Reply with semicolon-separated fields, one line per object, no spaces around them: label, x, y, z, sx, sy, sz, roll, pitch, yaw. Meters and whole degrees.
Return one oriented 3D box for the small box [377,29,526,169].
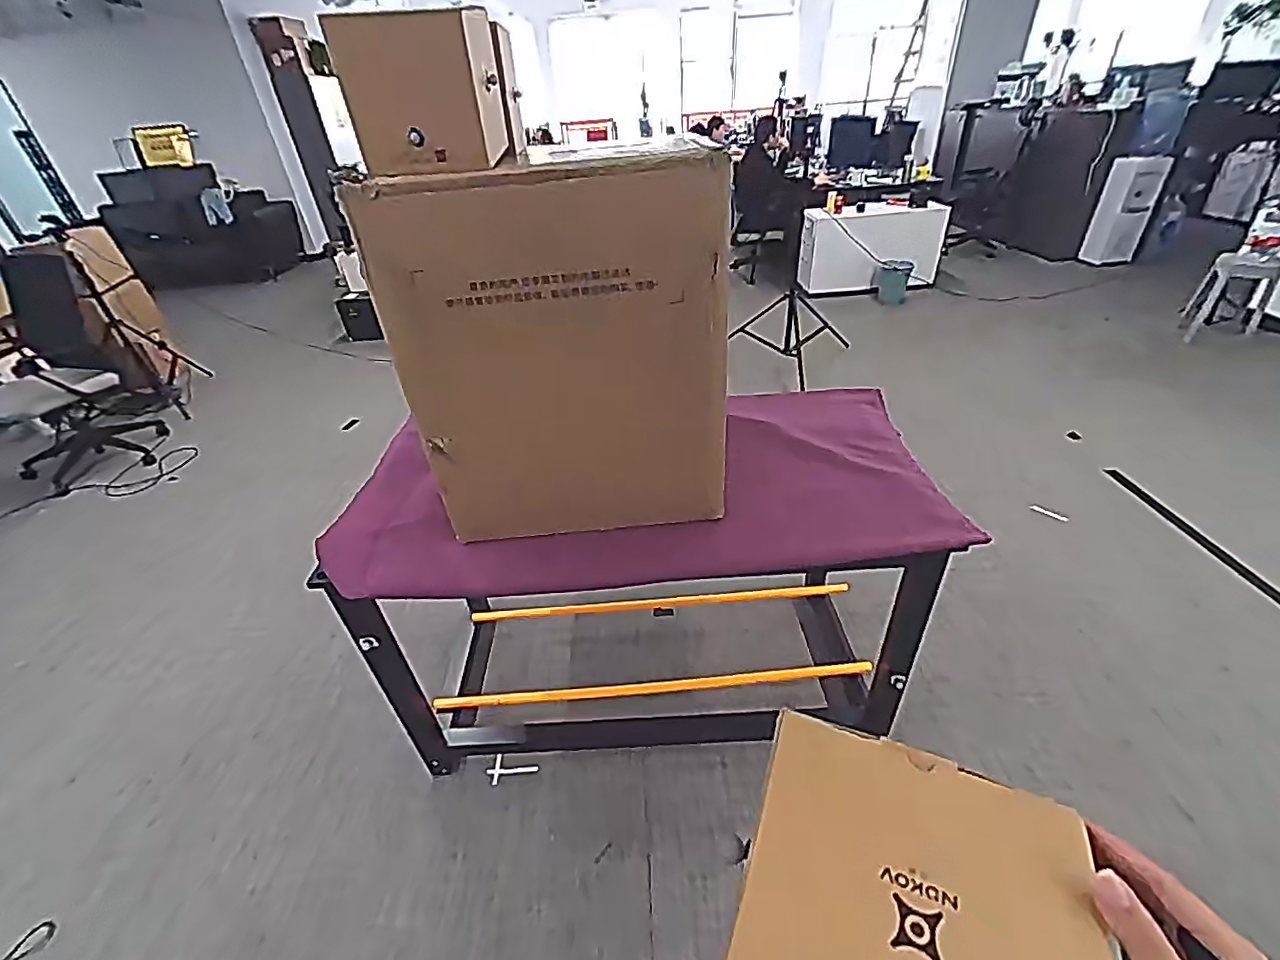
small box;-0.290;-0.617;0.882;0.179;0.176;0.168;-5;35;-1
